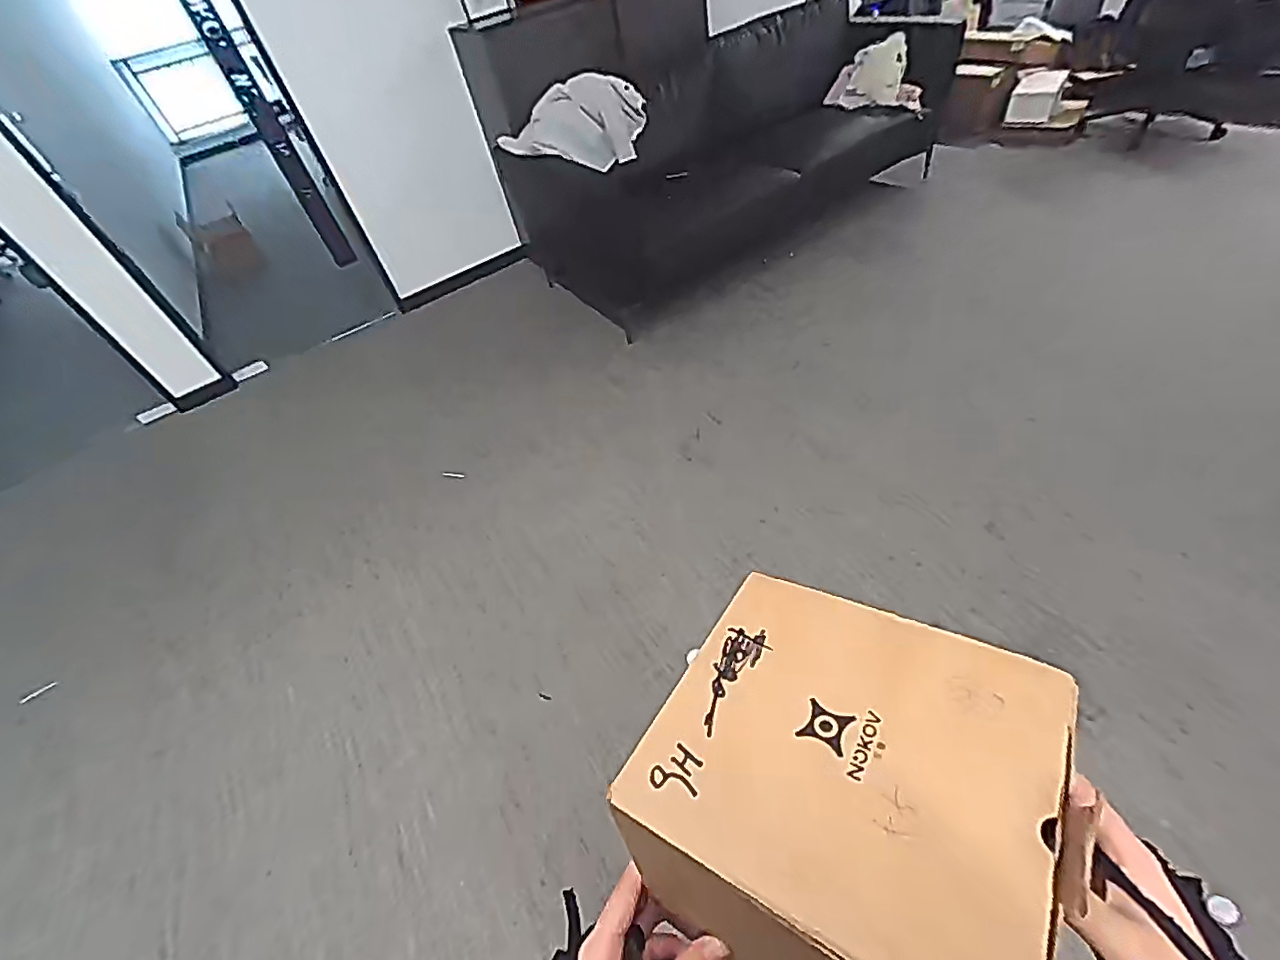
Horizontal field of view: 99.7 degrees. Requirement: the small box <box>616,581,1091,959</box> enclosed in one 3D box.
[{"bbox_3d":[0.116,0.195,0.308,0.179,0.176,0.168,16,43,34],"label":"small box"}]
